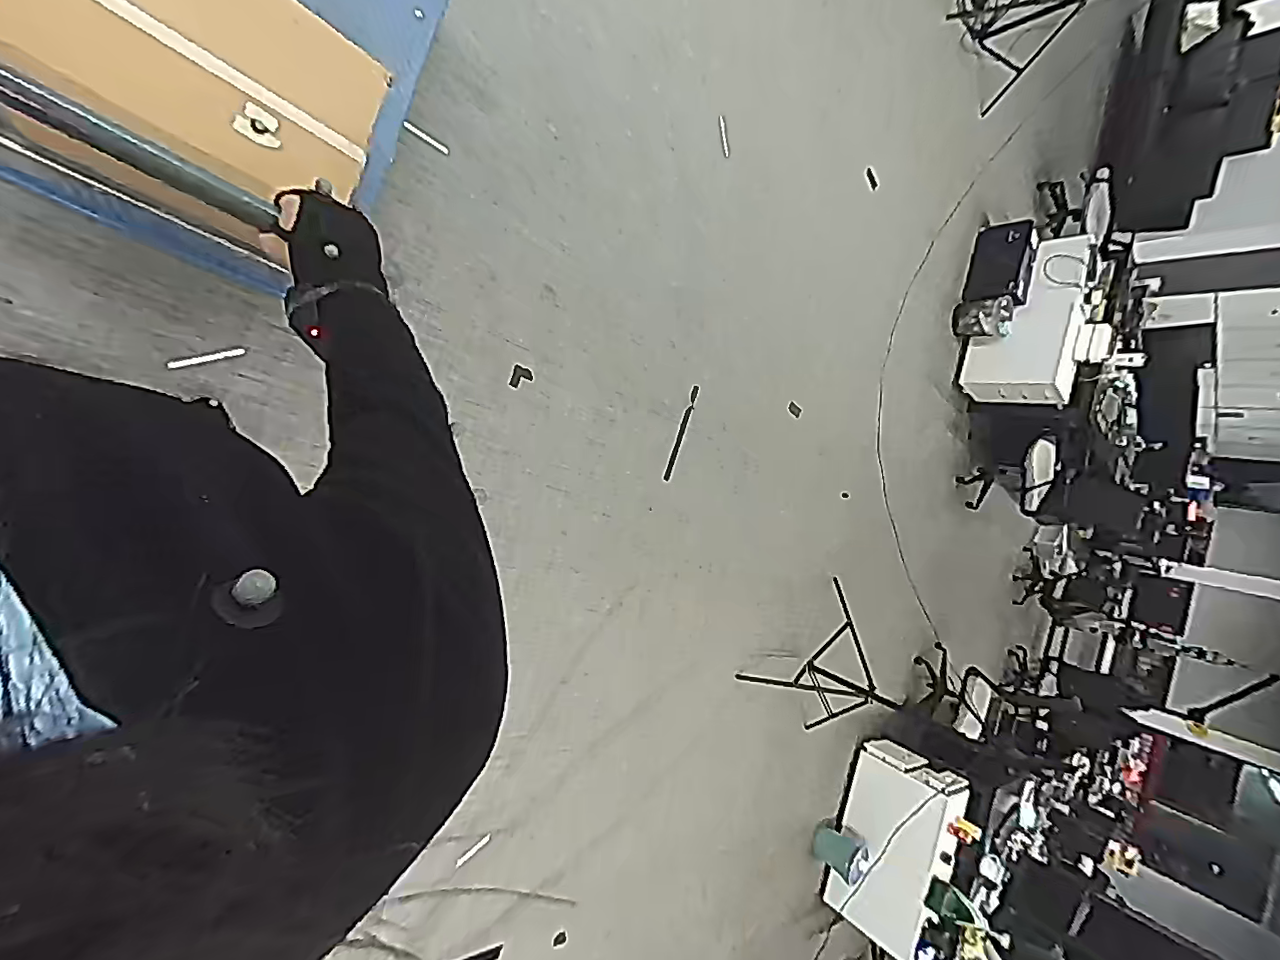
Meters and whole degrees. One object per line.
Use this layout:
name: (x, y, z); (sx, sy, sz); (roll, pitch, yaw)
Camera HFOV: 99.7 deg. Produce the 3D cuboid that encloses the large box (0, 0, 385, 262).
large box: (-0.712, -0.614, 0.884); (0.408, 0.320, 0.320); (20, 87, -42)
